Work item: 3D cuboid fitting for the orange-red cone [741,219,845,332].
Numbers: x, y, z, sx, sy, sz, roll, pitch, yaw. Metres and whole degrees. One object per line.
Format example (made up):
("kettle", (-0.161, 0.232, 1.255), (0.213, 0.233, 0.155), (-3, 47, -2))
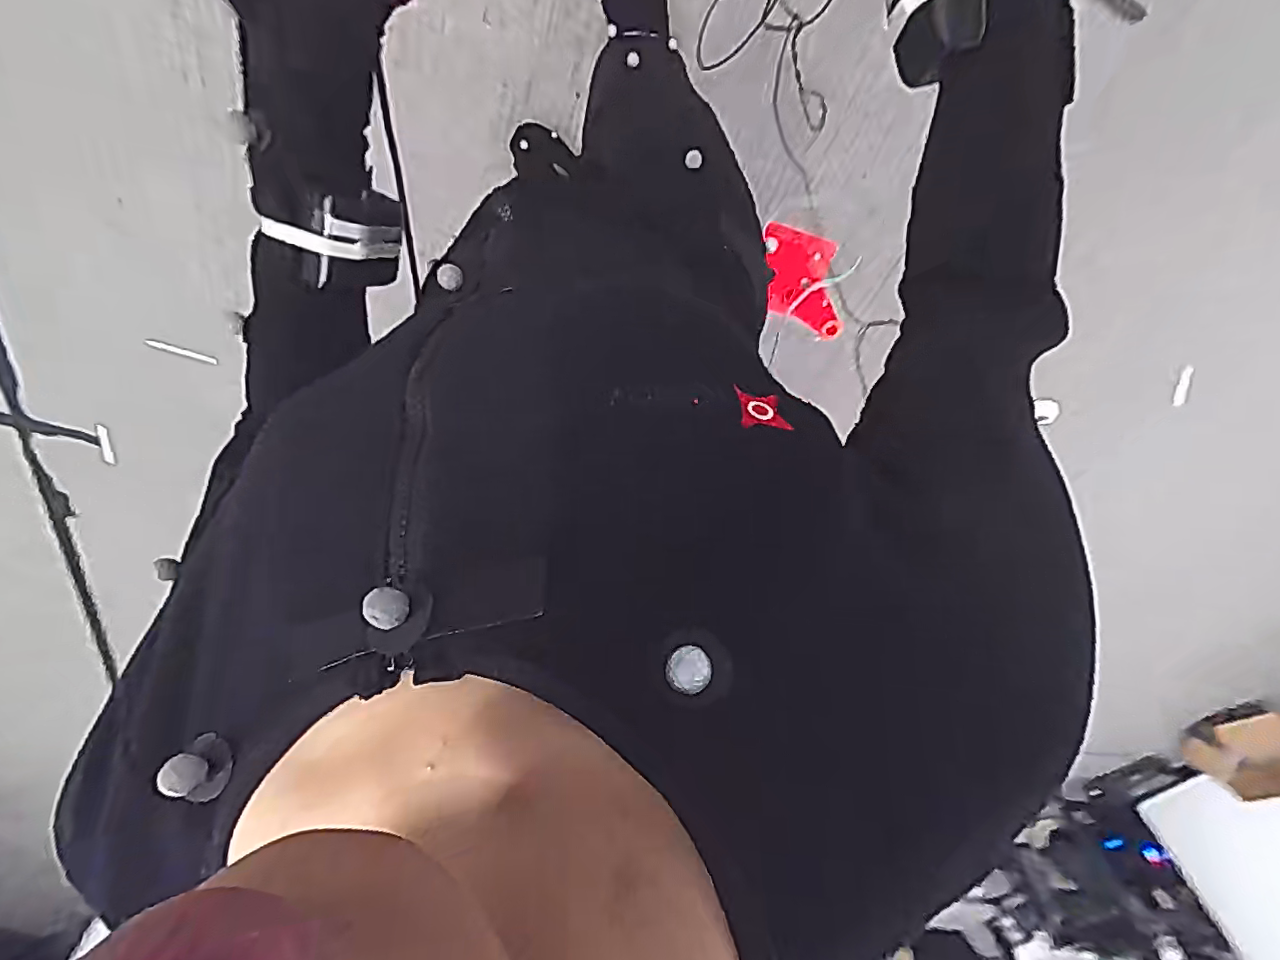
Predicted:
("orange-red cone", (0.374, -0.414, 1.197), (0.199, 0.360, 0.198), (13, 126, -12))

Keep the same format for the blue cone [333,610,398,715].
("blue cone", (-1.041, 0.682, 1.989), (0.193, 0.380, 0.192), (11, 127, -13))
